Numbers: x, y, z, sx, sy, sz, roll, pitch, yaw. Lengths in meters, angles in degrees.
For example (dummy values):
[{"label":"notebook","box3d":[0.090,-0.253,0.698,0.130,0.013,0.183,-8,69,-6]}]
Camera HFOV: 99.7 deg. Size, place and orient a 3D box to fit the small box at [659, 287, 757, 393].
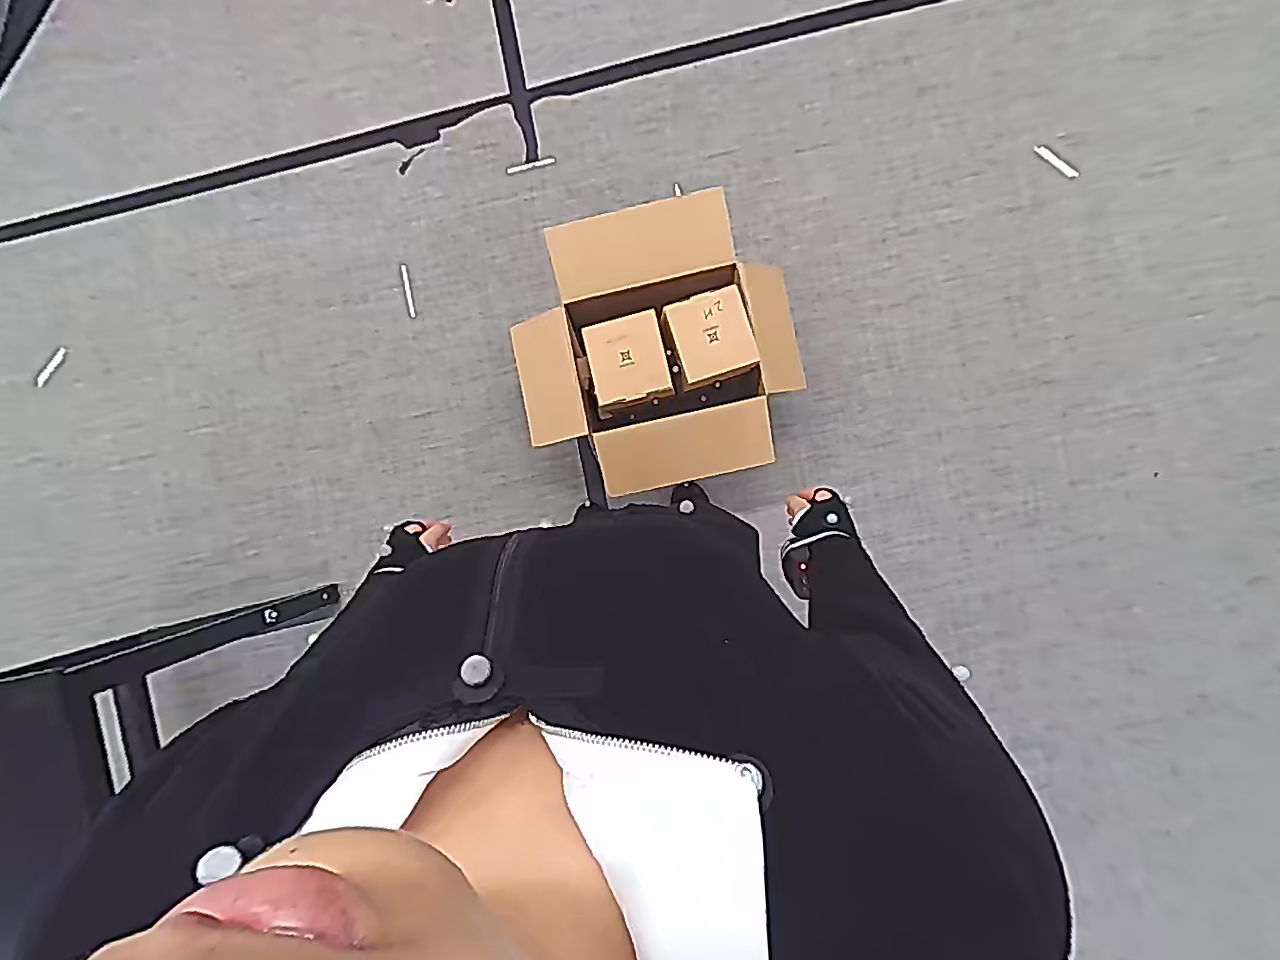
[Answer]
[{"label":"small box","box3d":[0.148,-0.307,1.231,0.168,0.176,0.179,-18,90,-2]}]
